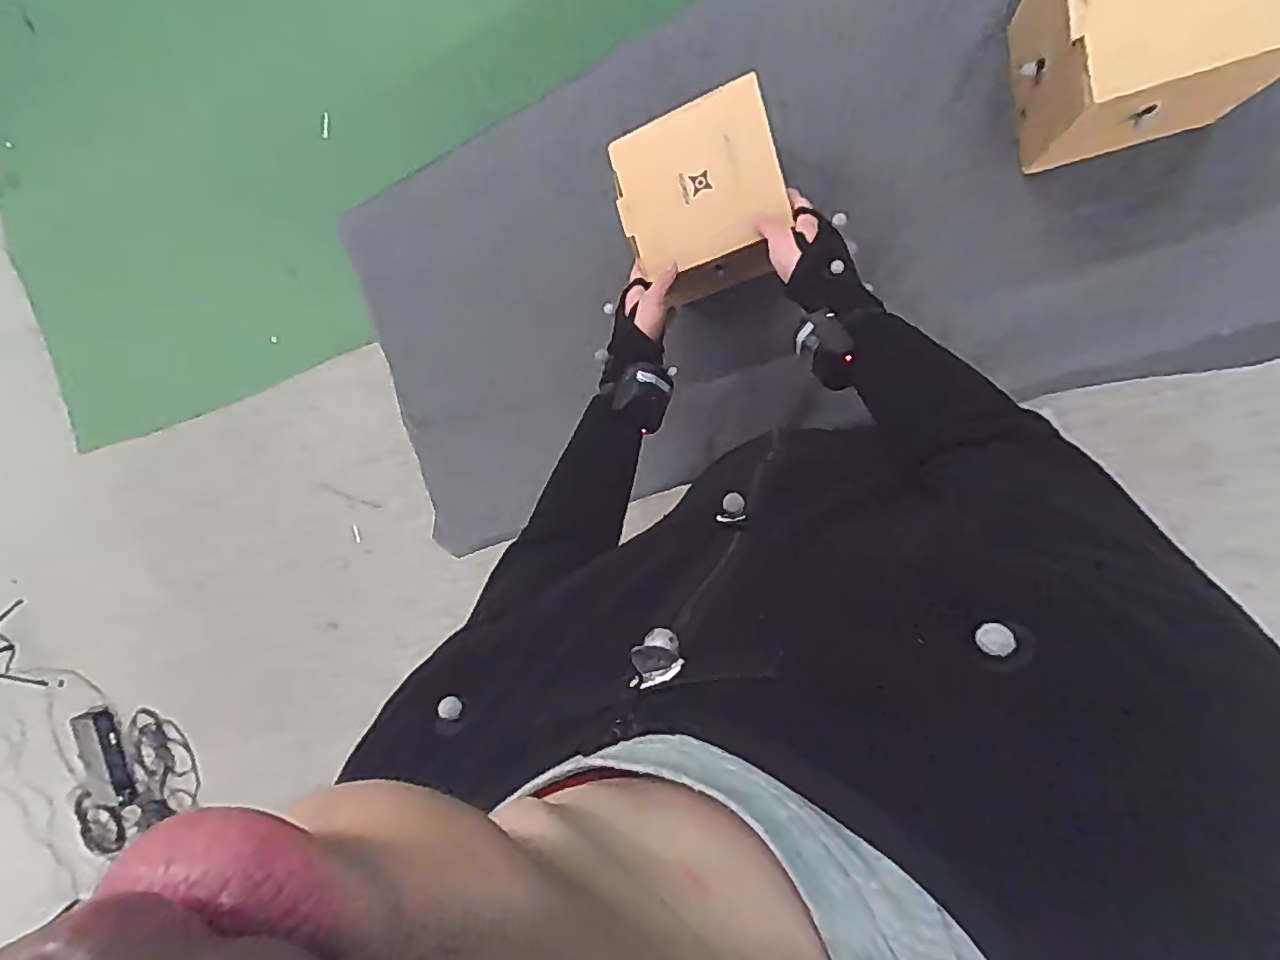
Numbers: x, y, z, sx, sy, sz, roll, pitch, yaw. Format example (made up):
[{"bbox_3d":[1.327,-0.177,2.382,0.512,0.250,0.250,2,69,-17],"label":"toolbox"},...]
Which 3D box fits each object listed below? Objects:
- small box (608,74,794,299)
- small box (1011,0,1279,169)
[{"bbox_3d":[0.086,-0.340,0.672,0.179,0.176,0.168,-16,95,18],"label":"small box"},{"bbox_3d":[0.483,-0.434,0.522,0.179,0.176,0.168,-8,97,19],"label":"small box"}]
